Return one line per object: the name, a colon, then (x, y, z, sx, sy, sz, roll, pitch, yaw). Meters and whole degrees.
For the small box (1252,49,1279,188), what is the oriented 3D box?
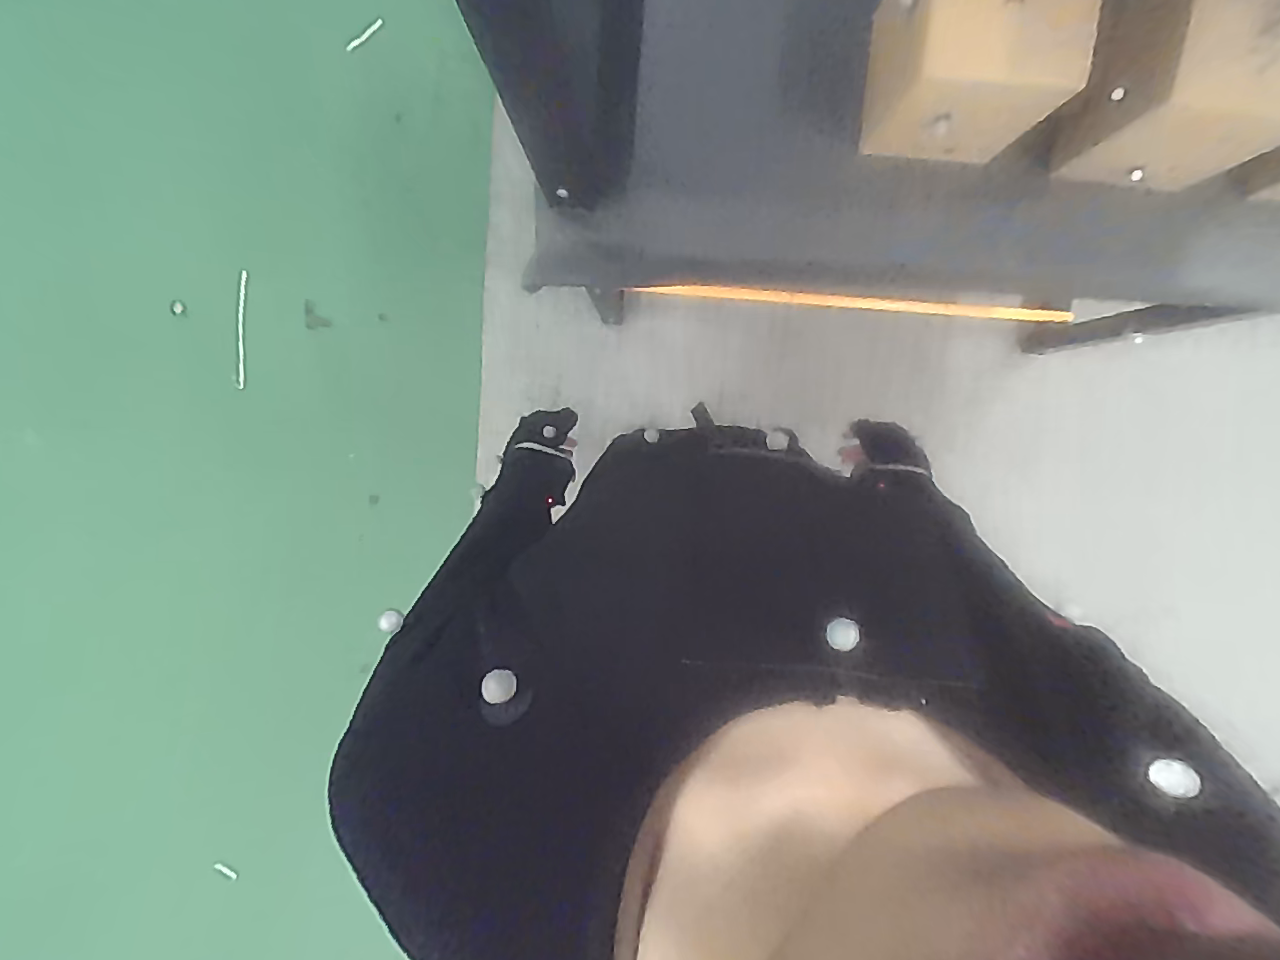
small box: (0.861, -0.439, 0.602, 0.168, 0.176, 0.179, 4, 95, 1)

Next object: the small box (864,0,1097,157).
small box: (0.370, -0.496, 0.611, 0.168, 0.176, 0.179, 5, 96, 1)
